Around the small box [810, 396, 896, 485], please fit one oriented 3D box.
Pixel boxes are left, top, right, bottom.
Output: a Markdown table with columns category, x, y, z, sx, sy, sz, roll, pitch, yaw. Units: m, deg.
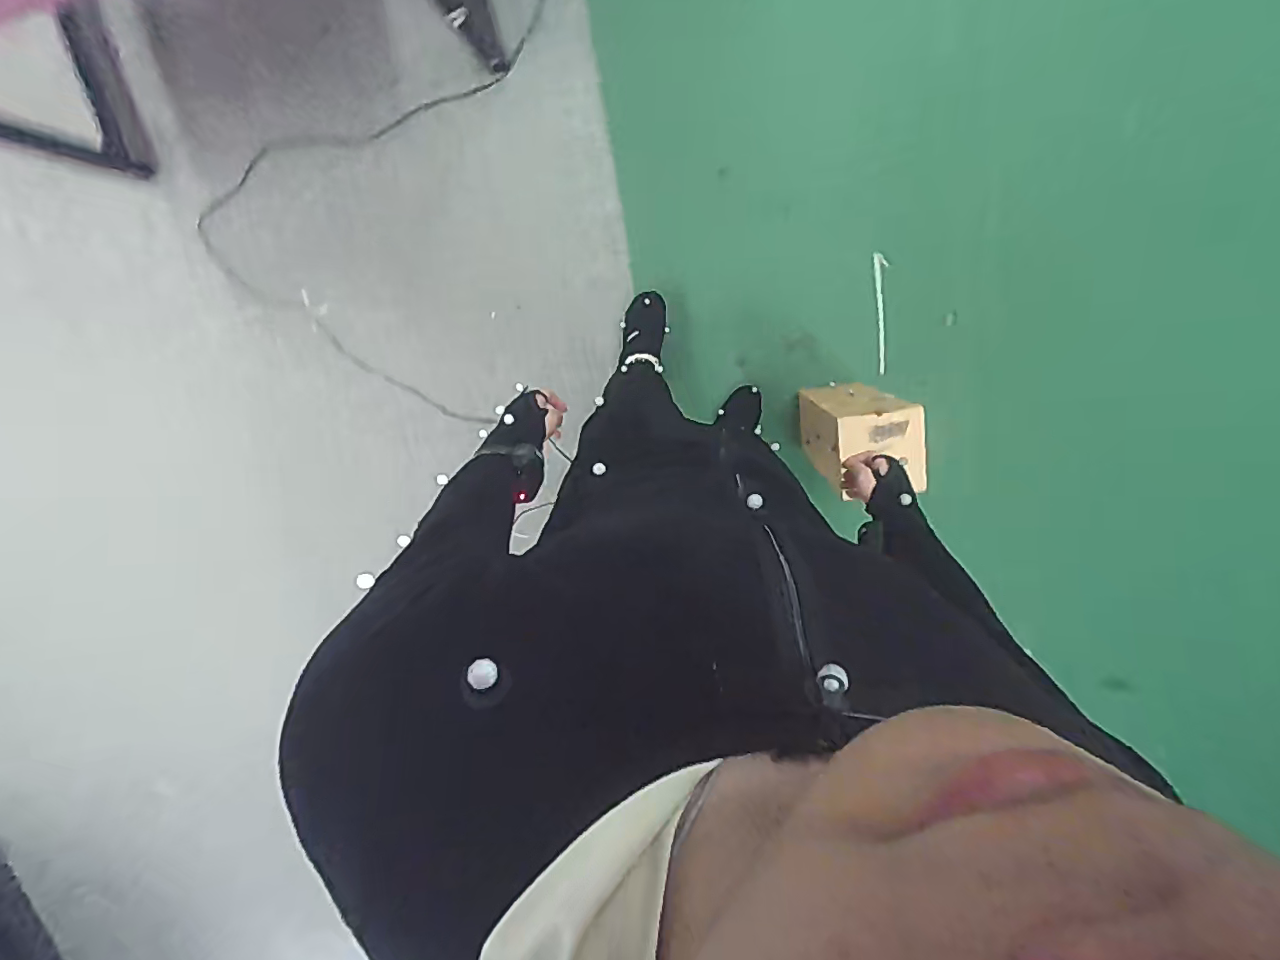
| category | x | y | z | sx | sy | sz | roll | pitch | yaw |
| --- | --- | --- | --- | --- | --- | --- | --- | --- | --- |
| small box | 0.513 | -0.100 | 1.311 | 0.168 | 0.176 | 0.179 | -6 | 103 | 9 |

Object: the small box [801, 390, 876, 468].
| category | x | y | z | sx | sy | sz | roll | pitch | yaw |
| --- | --- | --- | --- | --- | --- | --- | --- | --- | --- |
| small box | 0.536 | -0.142 | 1.467 | 0.168 | 0.176 | 0.179 | -5 | 104 | 9 |

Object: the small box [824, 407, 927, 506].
| category | x | y | z | sx | sy | sz | roll | pitch | yaw |
| --- | --- | --- | --- | --- | --- | --- | --- | --- | --- |
| small box | 0.495 | -0.057 | 1.154 | 0.168 | 0.176 | 0.179 | -6 | 105 | 10 |
